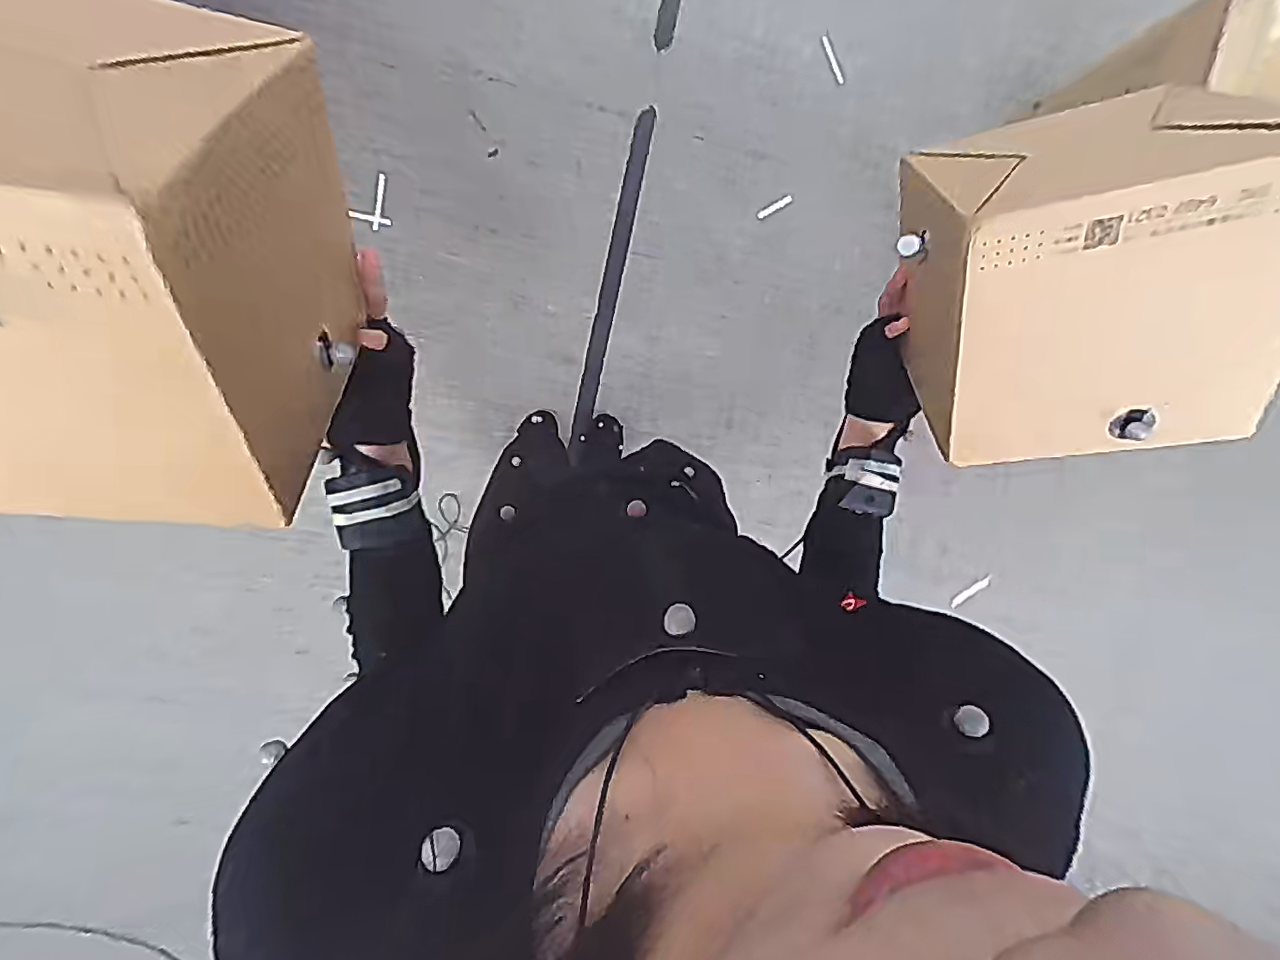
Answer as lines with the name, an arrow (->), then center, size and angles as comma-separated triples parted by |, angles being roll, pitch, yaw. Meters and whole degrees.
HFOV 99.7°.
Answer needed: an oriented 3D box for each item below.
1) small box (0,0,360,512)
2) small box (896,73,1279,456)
small box -> -0.251, -0.105, 0.247 | 0.168, 0.179, 0.176 | 2, 139, -10
small box -> 0.276, -0.142, 0.357 | 0.168, 0.179, 0.176 | -7, 129, 18
